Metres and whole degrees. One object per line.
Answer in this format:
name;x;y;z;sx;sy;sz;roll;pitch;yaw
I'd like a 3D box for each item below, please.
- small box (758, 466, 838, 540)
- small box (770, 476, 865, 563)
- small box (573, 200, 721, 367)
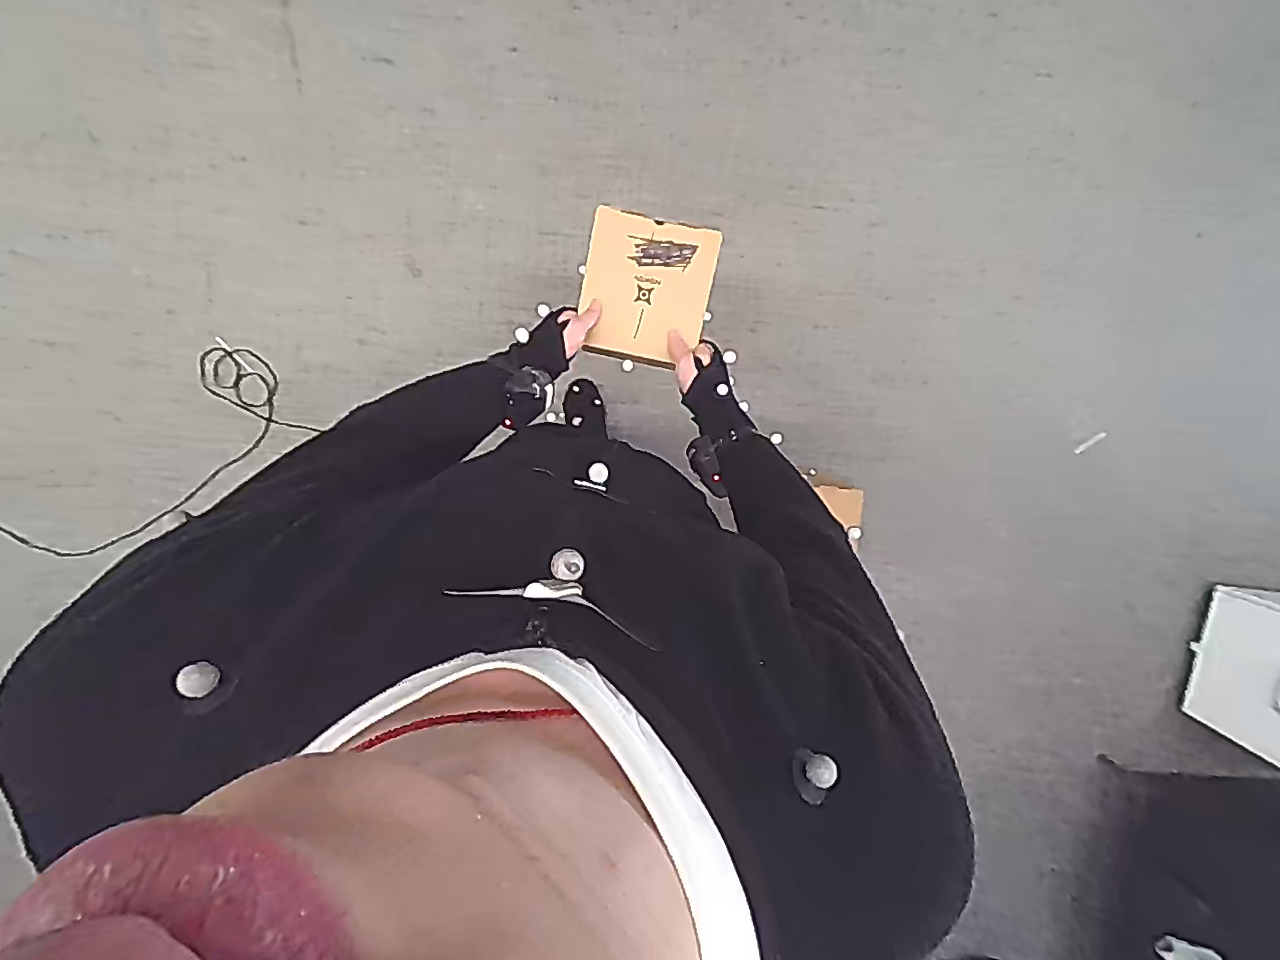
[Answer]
small box;0.428;0.065;1.487;0.168;0.176;0.179;5;99;-1
small box;0.427;0.089;1.326;0.168;0.176;0.179;4;100;-1
small box;0.006;-0.267;0.776;0.168;0.176;0.179;11;99;-2
